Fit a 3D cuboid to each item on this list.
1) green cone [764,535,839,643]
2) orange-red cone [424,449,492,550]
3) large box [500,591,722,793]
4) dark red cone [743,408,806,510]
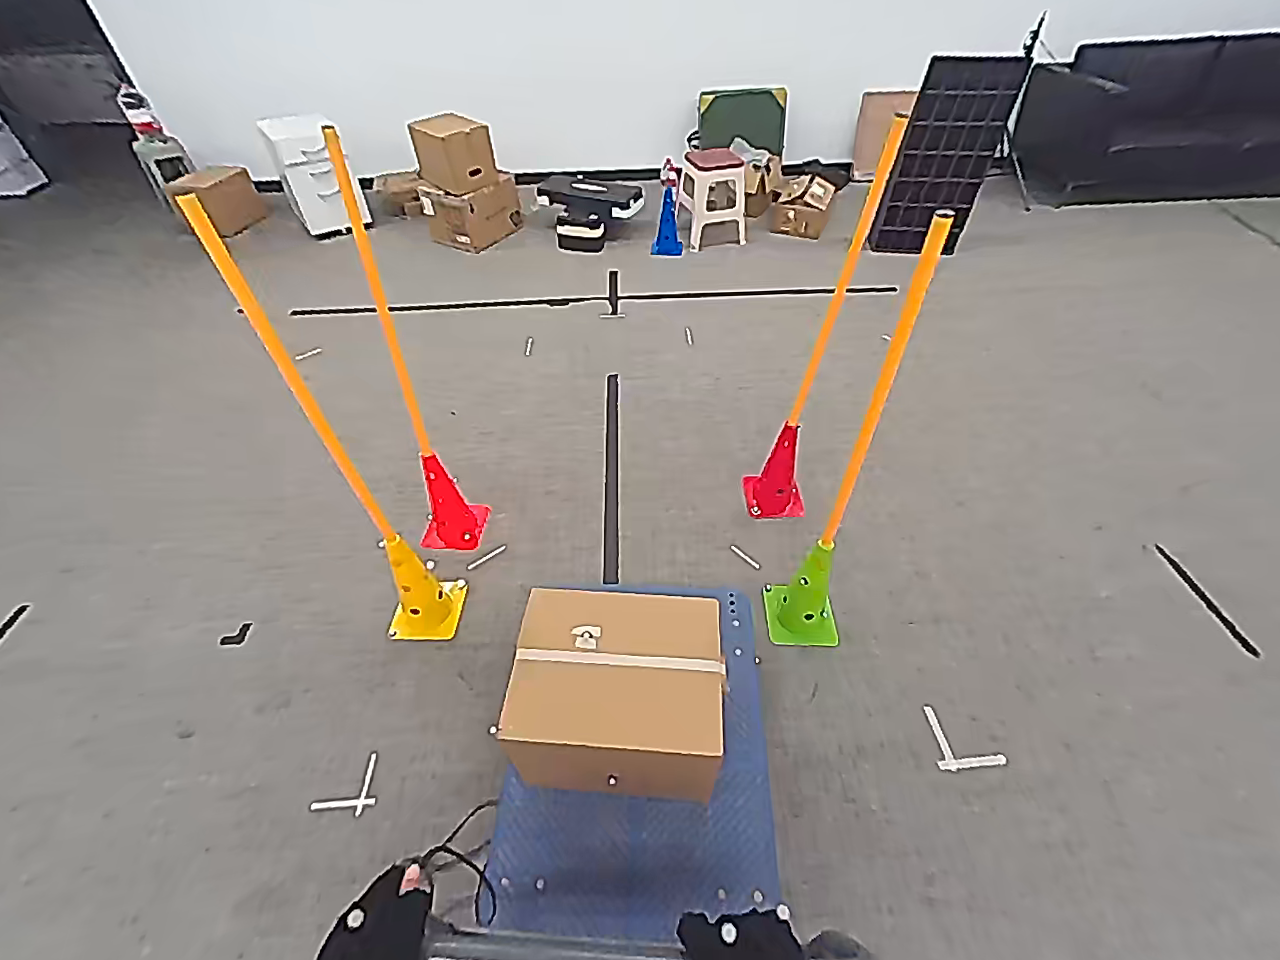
[{"bbox_3d":[0.486,0.284,1.521,0.202,0.368,0.200,1,46,1],"label":"green cone"},{"bbox_3d":[-0.638,0.040,1.781,0.198,0.360,0.199,4,45,4],"label":"orange-red cone"},{"bbox_3d":[-0.039,0.459,1.165,0.408,0.320,0.320,2,46,5],"label":"large box"},{"bbox_3d":[0.489,-0.079,1.844,0.201,0.394,0.202,-1,47,-2],"label":"dark red cone"}]
